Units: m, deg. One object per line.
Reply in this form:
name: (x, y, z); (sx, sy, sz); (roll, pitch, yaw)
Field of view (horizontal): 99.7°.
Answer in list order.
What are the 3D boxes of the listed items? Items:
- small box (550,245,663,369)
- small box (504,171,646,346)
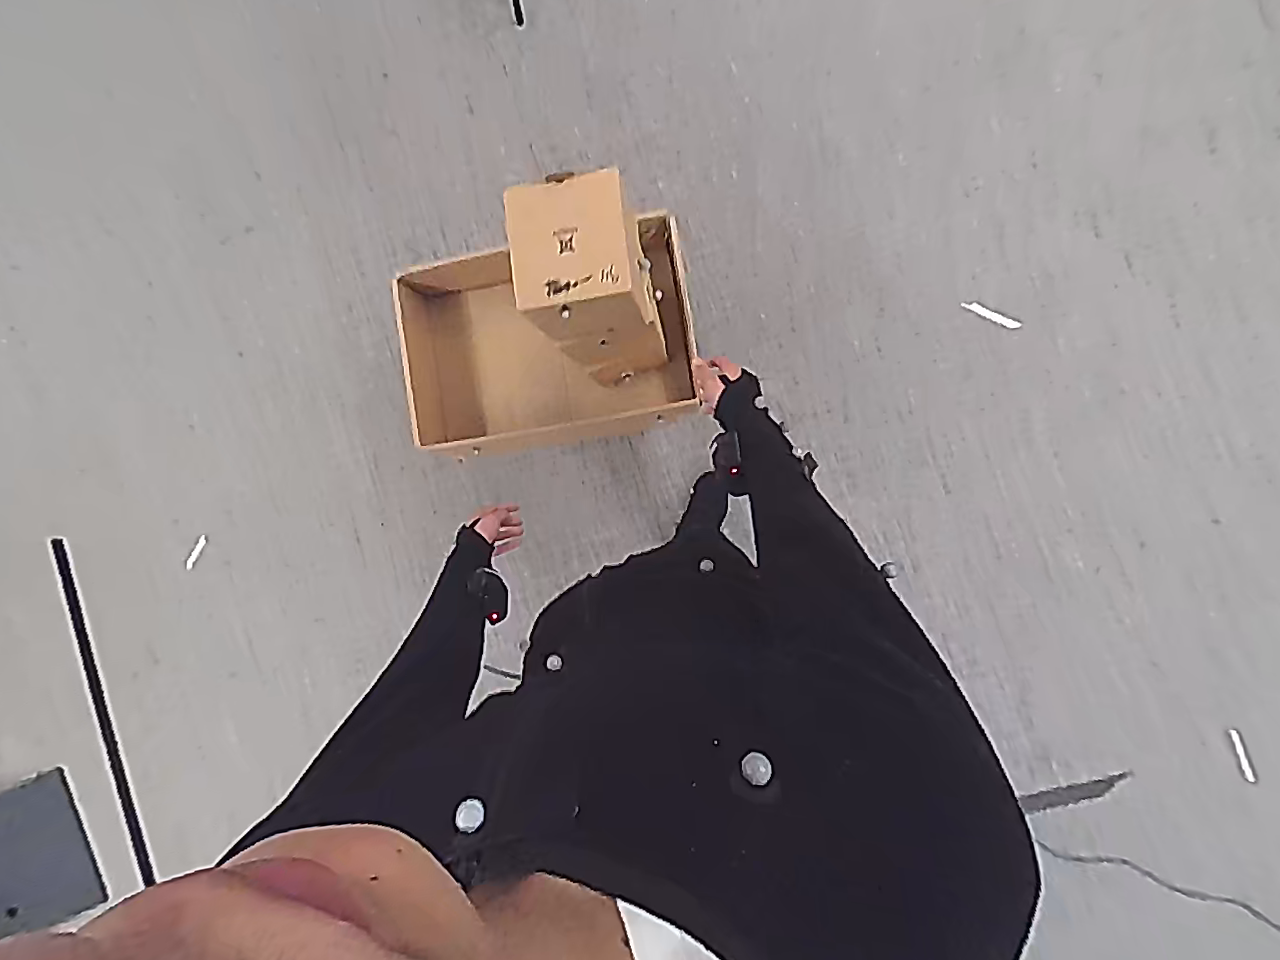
small box: (-0.066, -0.311, 0.973); (0.179, 0.176, 0.168); (-13, 87, 8)
small box: (-0.089, -0.319, 0.810); (0.168, 0.176, 0.179); (-6, 87, 9)
